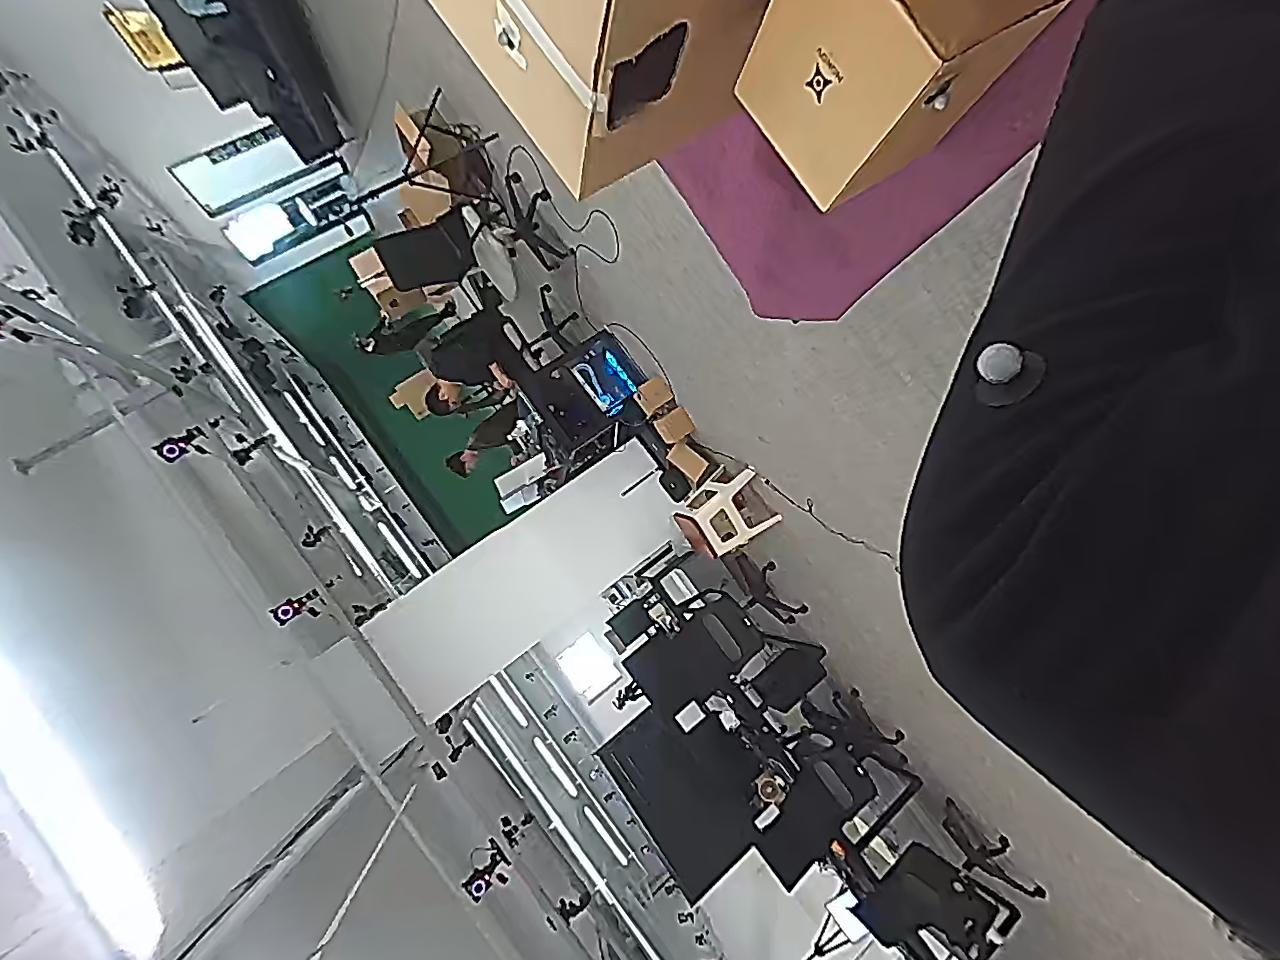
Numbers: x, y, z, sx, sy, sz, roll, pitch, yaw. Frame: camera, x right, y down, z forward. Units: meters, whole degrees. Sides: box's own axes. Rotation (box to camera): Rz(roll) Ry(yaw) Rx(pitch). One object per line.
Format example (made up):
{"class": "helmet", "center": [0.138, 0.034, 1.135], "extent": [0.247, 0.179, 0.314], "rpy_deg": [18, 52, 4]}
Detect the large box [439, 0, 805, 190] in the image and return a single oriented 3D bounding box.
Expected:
{"class": "large box", "center": [-0.038, -0.628, 0.571], "extent": [0.408, 0.320, 0.320], "rpy_deg": [51, 166, -1]}
